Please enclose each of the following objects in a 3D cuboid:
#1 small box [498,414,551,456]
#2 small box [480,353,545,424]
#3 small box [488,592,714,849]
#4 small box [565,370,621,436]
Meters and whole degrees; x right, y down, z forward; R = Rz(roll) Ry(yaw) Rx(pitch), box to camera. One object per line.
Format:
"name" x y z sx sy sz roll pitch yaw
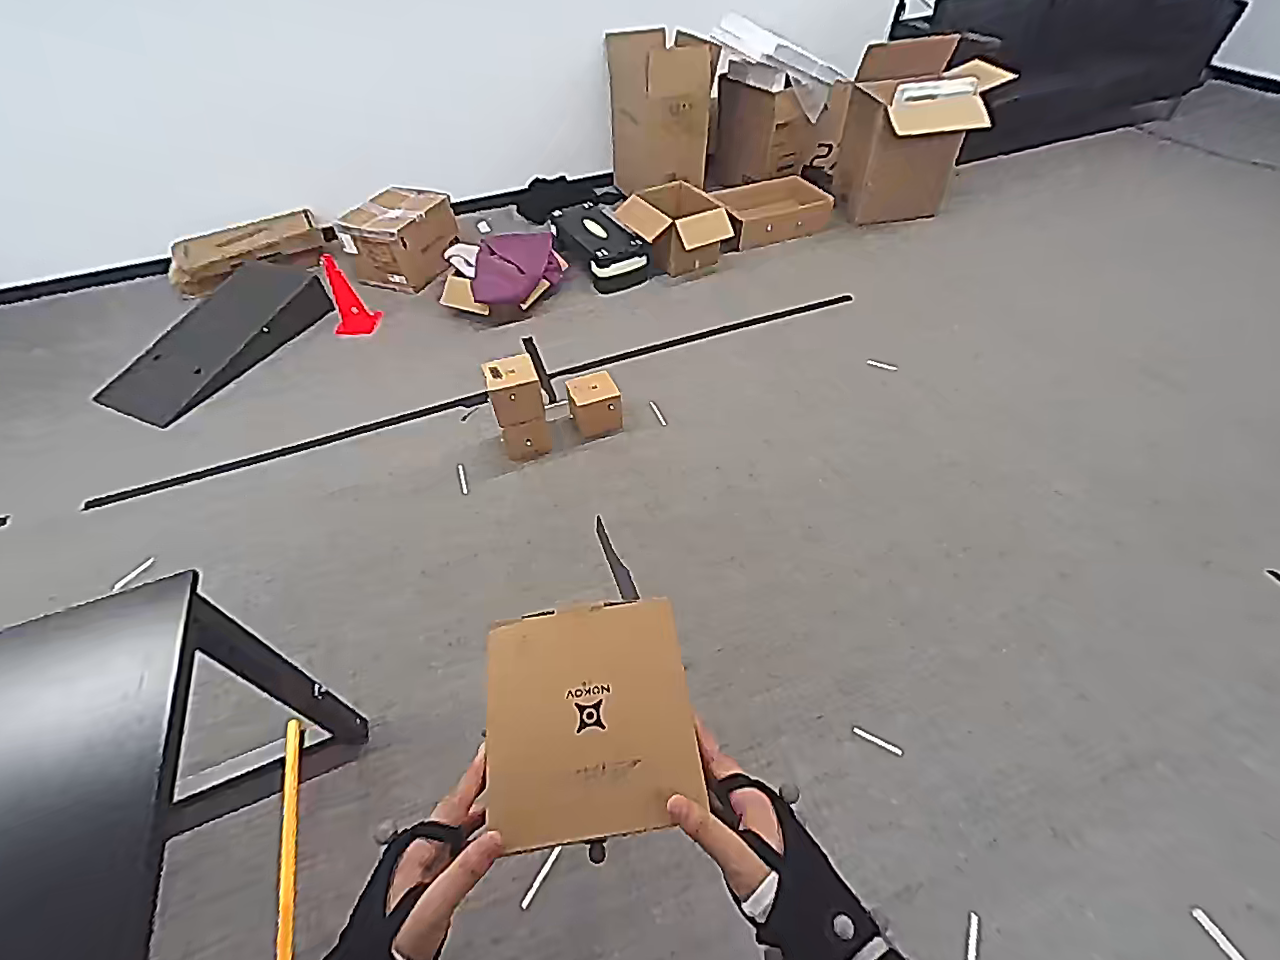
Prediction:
"small box" -0.445 -0.209 2.052 0.168 0.176 0.179 -16 51 -11
"small box" -0.453 -0.323 1.931 0.179 0.176 0.168 -16 50 -11
"small box" -0.038 0.223 0.497 0.168 0.176 0.179 -7 58 -4
"small box" -0.182 -0.300 2.117 0.179 0.176 0.168 -19 51 -13
